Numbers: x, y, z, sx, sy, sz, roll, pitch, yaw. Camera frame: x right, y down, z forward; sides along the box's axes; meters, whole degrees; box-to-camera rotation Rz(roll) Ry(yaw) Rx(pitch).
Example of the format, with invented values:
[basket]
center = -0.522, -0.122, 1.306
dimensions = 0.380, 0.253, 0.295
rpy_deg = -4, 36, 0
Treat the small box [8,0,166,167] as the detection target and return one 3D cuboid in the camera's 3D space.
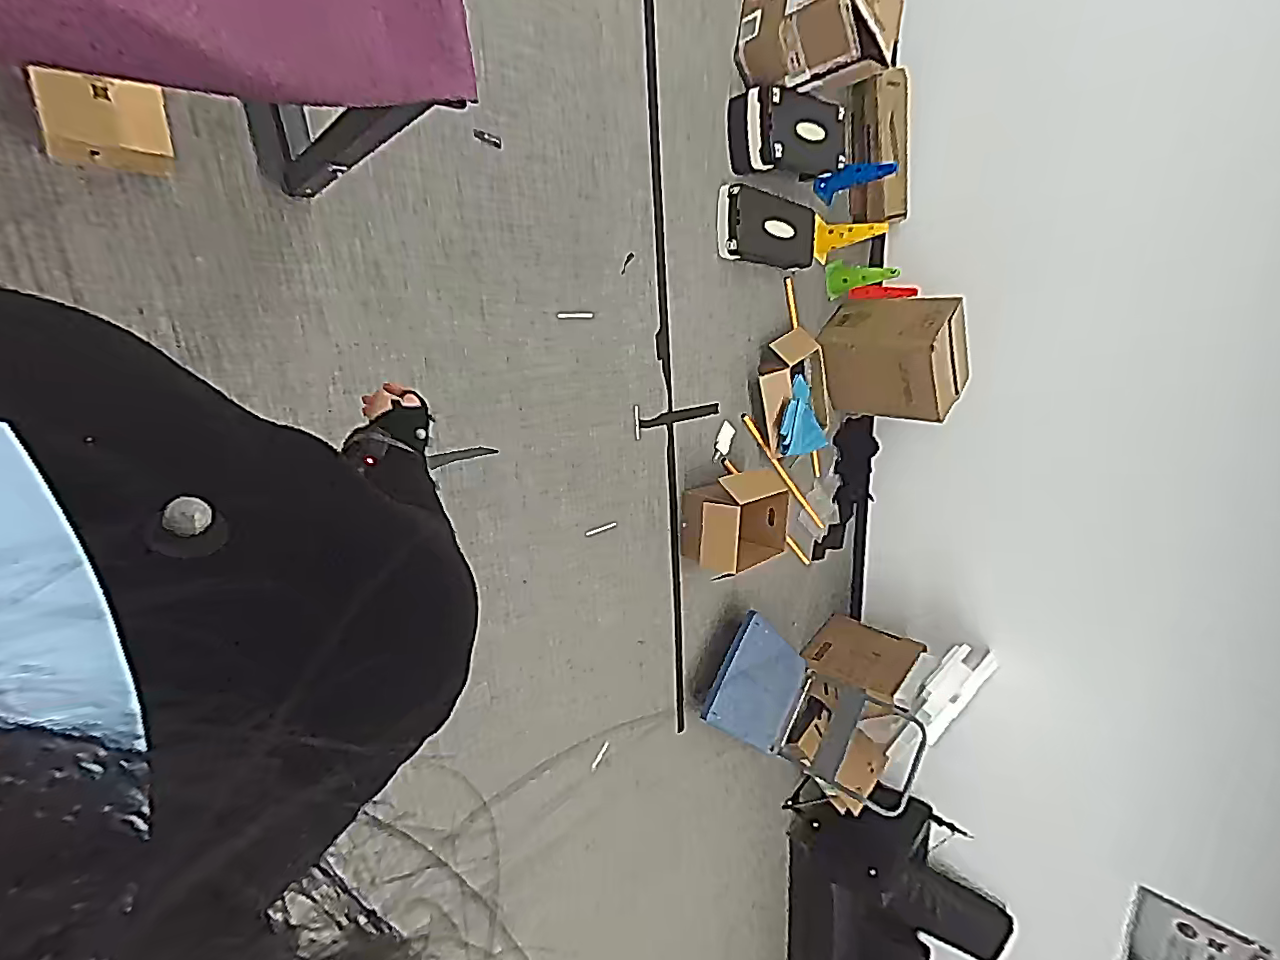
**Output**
[small box]
center = -0.969, -0.680, 0.959
dimensions = 0.168, 0.176, 0.179
rpy_deg = -14, 108, -43
